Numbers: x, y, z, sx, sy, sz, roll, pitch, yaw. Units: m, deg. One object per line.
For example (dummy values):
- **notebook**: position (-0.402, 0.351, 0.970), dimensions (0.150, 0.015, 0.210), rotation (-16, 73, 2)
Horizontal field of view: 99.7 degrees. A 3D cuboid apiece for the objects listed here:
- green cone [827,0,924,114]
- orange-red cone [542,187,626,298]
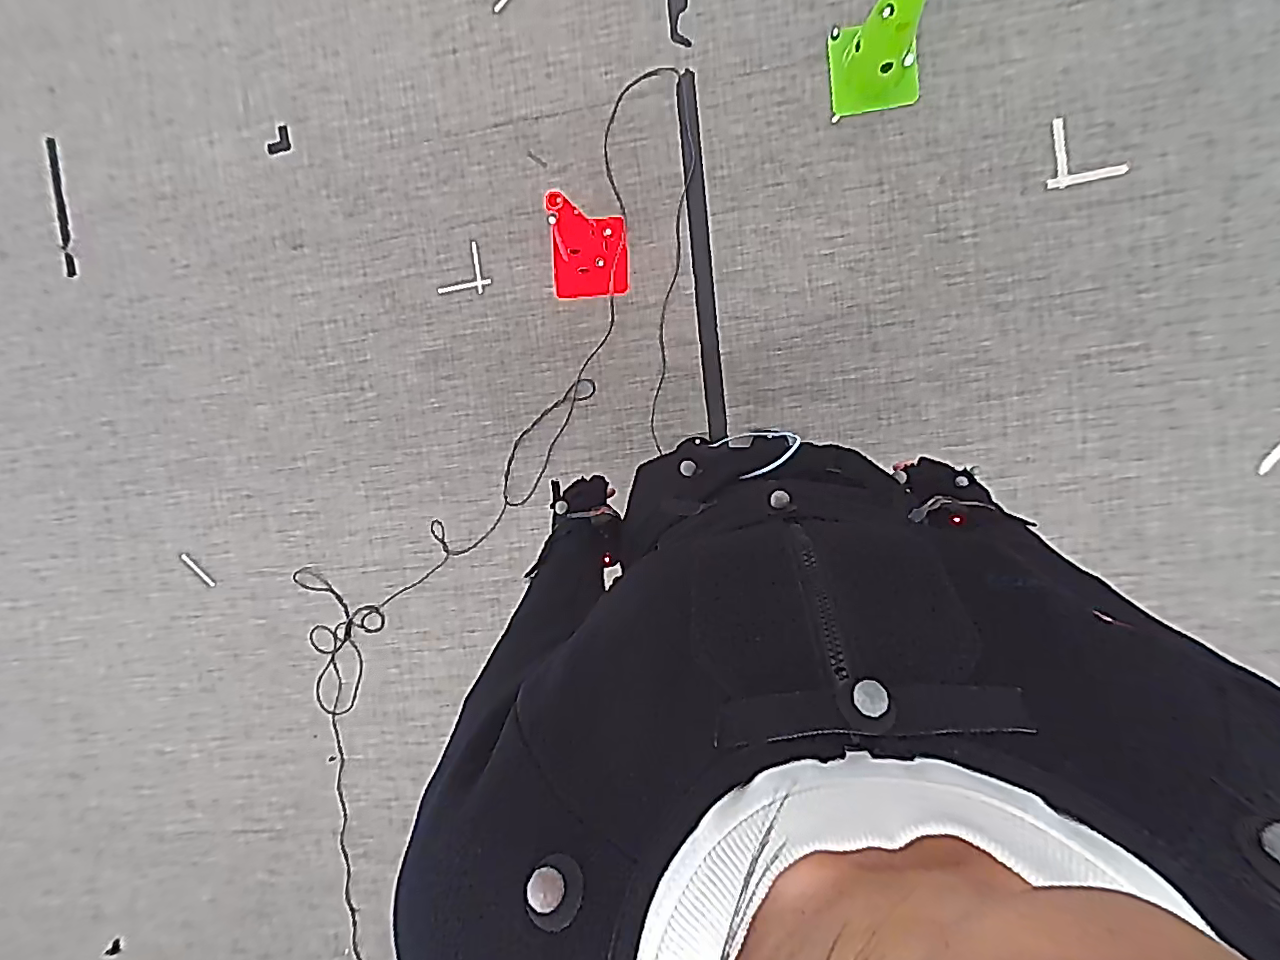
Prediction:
- **green cone**: position (0.539, -0.978, 1.126), dimensions (0.202, 0.368, 0.200), rotation (-6, 94, 6)
- **orange-red cone**: position (-0.156, -0.571, 1.245), dimensions (0.199, 0.360, 0.198), rotation (-1, 93, 8)
